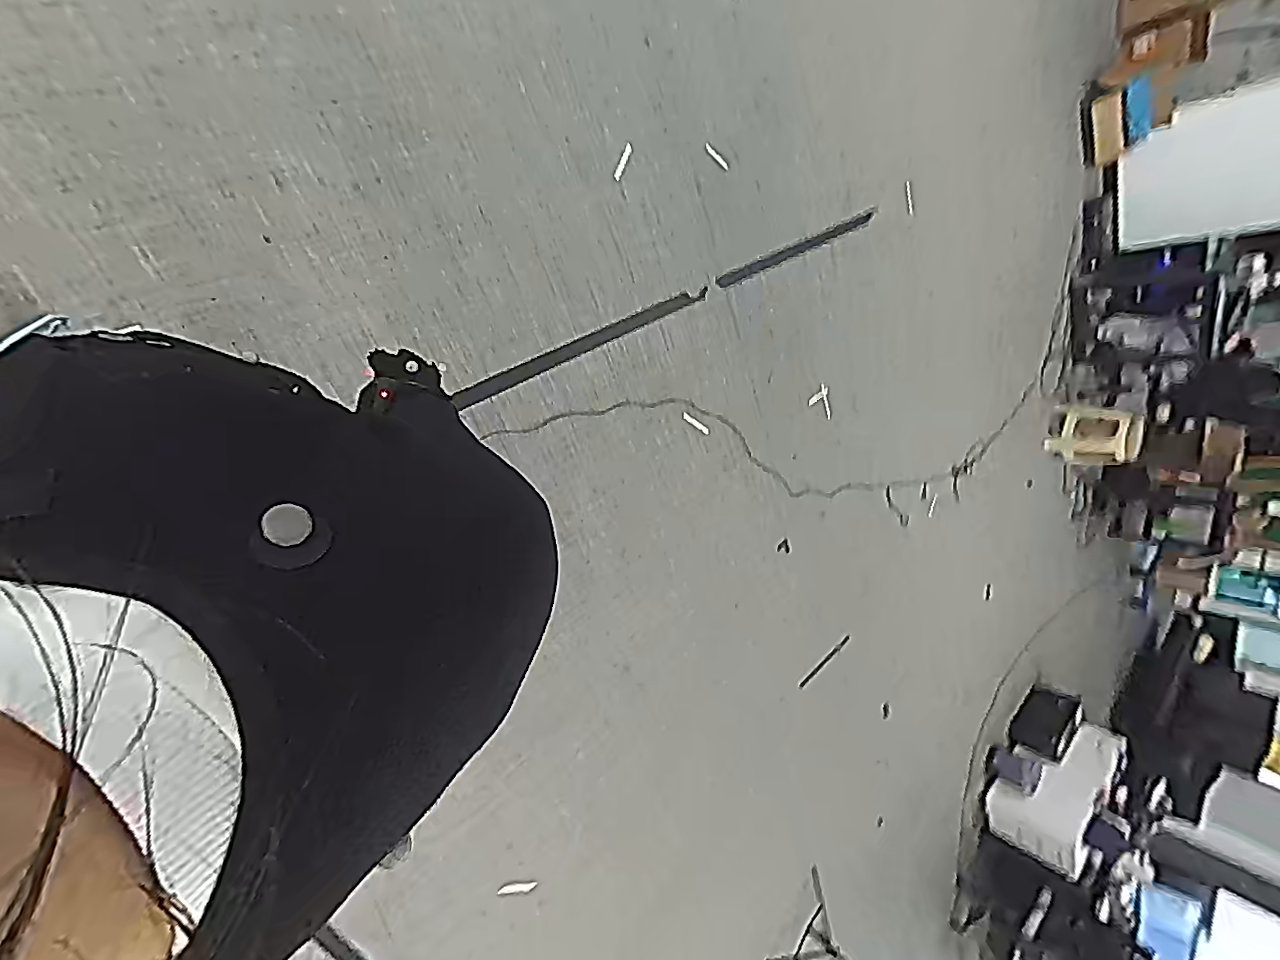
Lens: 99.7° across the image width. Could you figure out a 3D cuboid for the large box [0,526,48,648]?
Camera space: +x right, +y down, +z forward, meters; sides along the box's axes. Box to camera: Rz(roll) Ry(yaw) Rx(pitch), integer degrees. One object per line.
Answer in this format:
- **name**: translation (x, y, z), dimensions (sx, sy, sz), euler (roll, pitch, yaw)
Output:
- **large box**: translation (-0.931, 0.036, 0.525), dimensions (0.320, 0.320, 0.408), euler (-33, 72, -35)
